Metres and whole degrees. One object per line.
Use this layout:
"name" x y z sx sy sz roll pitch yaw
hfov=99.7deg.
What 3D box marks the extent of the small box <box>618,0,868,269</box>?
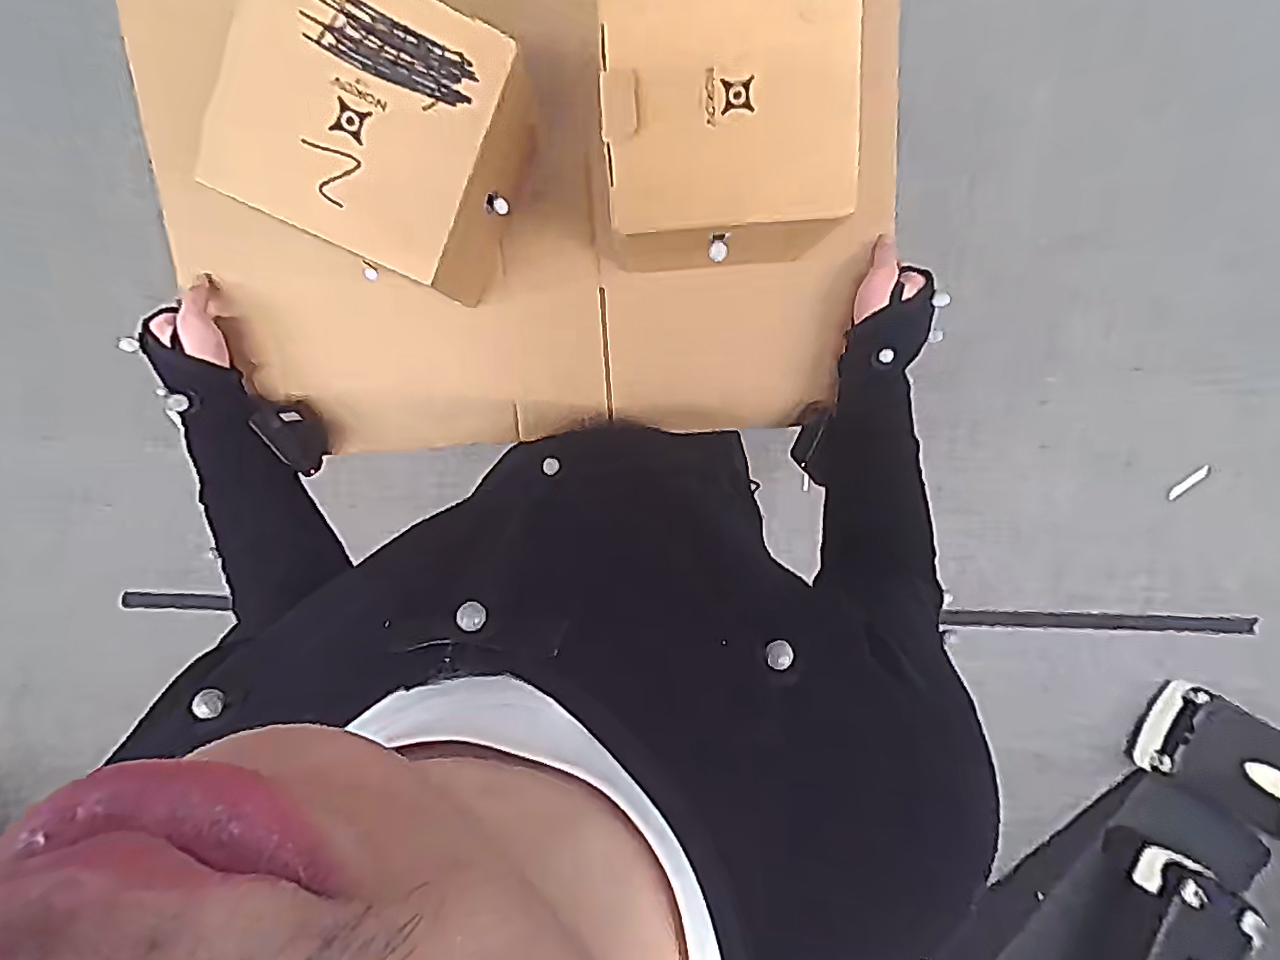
"small box" 0.078 -0.286 0.467 0.179 0.176 0.168 -2 101 4
